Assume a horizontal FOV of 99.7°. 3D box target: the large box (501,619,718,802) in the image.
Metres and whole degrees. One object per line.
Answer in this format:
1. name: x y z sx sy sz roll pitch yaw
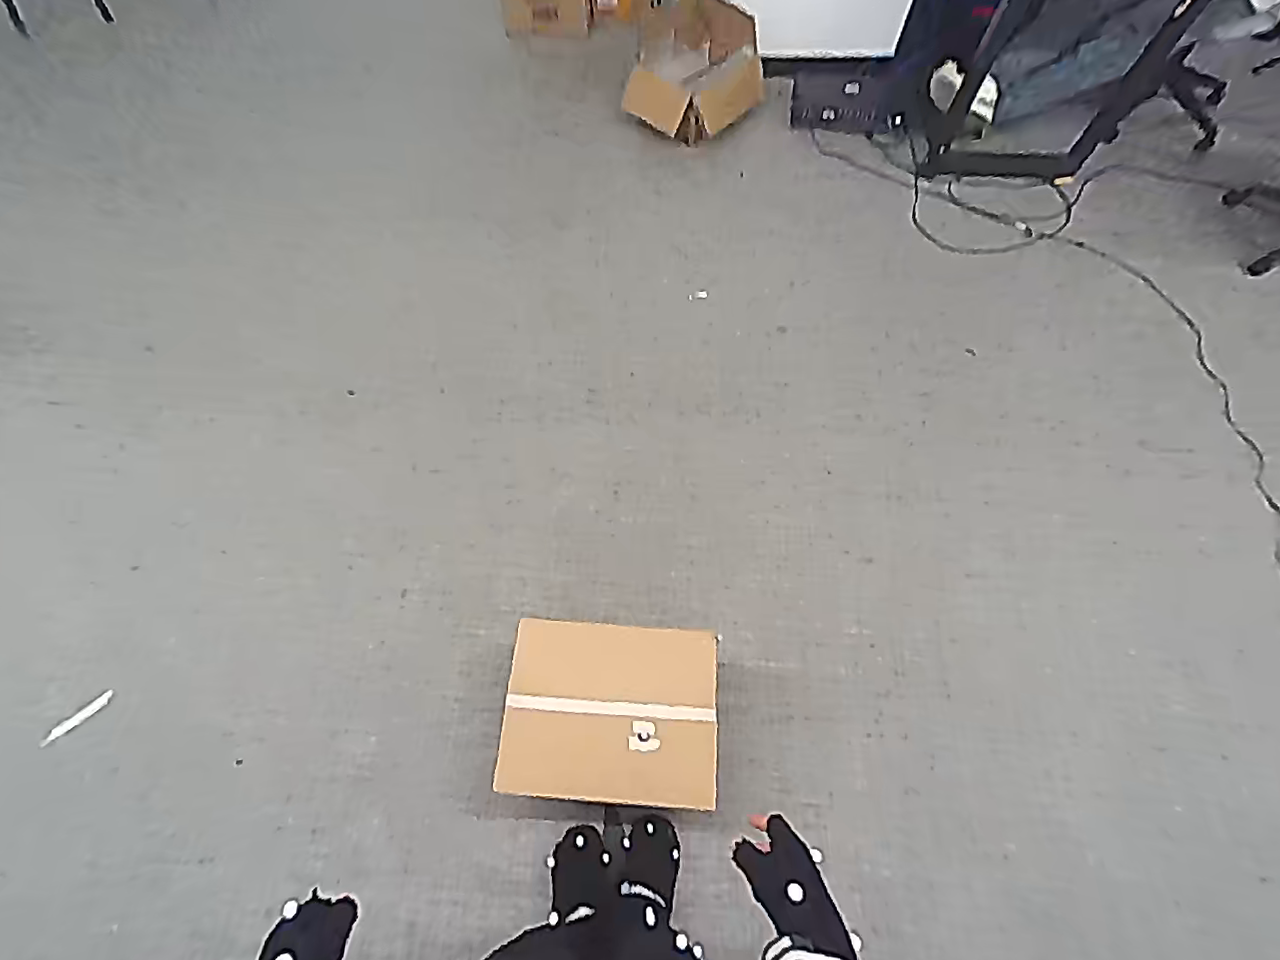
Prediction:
1. large box: -0.051 0.498 1.175 0.408 0.320 0.320 4 65 1
